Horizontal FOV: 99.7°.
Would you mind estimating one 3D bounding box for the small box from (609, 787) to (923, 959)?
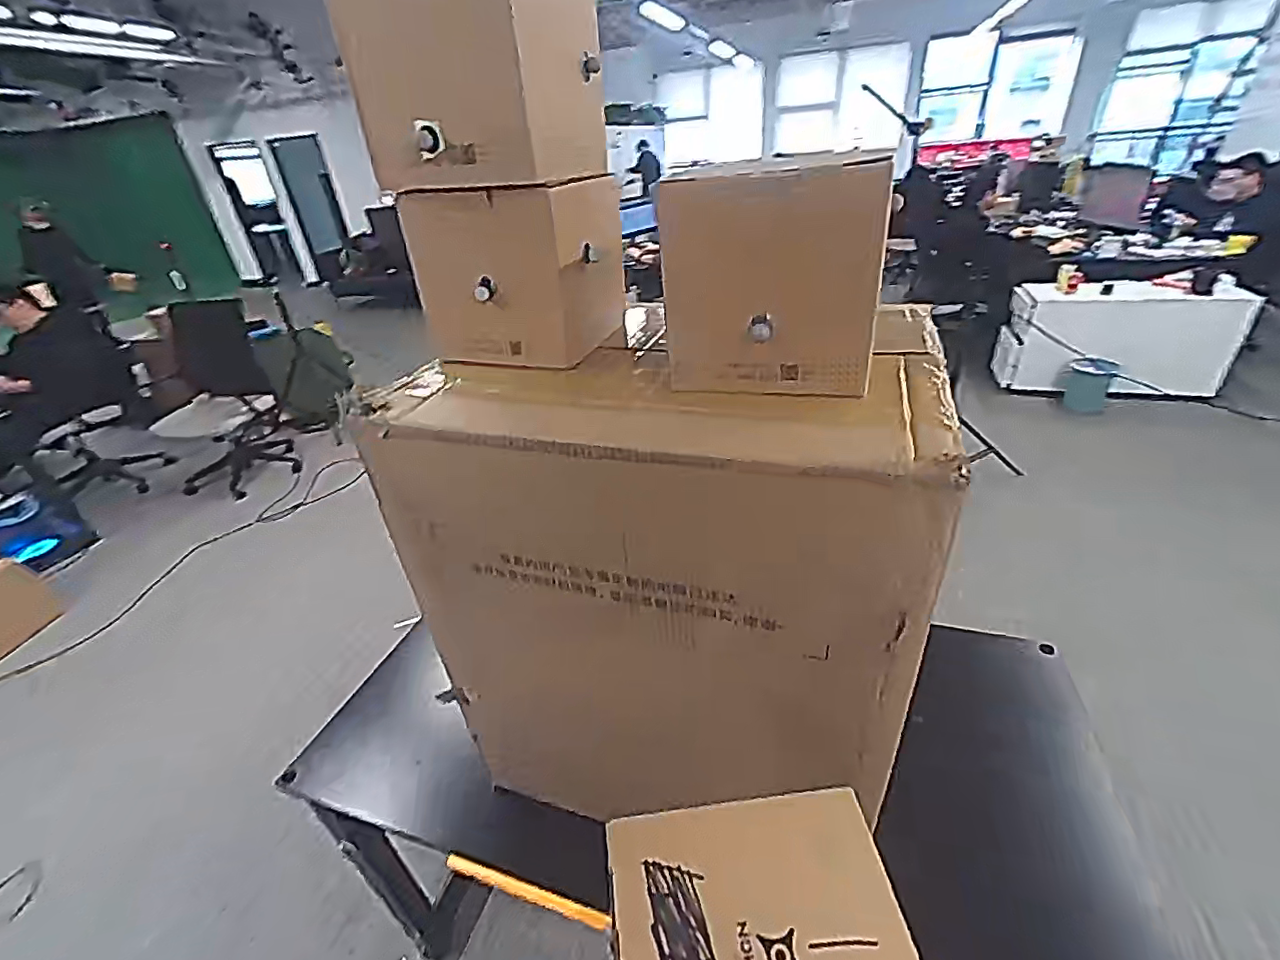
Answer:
[{"bbox_3d":[0.075,0.334,0.358,0.179,0.176,0.168,-4,38,-3],"label":"small box"}]

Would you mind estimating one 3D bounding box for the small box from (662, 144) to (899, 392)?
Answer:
[{"bbox_3d":[0.125,-0.190,0.480,0.168,0.176,0.179,5,33,19],"label":"small box"}]

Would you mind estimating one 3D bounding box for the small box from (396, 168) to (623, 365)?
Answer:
[{"bbox_3d":[-0.122,-0.234,0.591,0.168,0.176,0.179,7,34,16],"label":"small box"}]

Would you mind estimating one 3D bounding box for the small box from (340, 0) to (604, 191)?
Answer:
[{"bbox_3d":[-0.138,-0.366,0.496,0.168,0.176,0.179,5,33,16],"label":"small box"}]
